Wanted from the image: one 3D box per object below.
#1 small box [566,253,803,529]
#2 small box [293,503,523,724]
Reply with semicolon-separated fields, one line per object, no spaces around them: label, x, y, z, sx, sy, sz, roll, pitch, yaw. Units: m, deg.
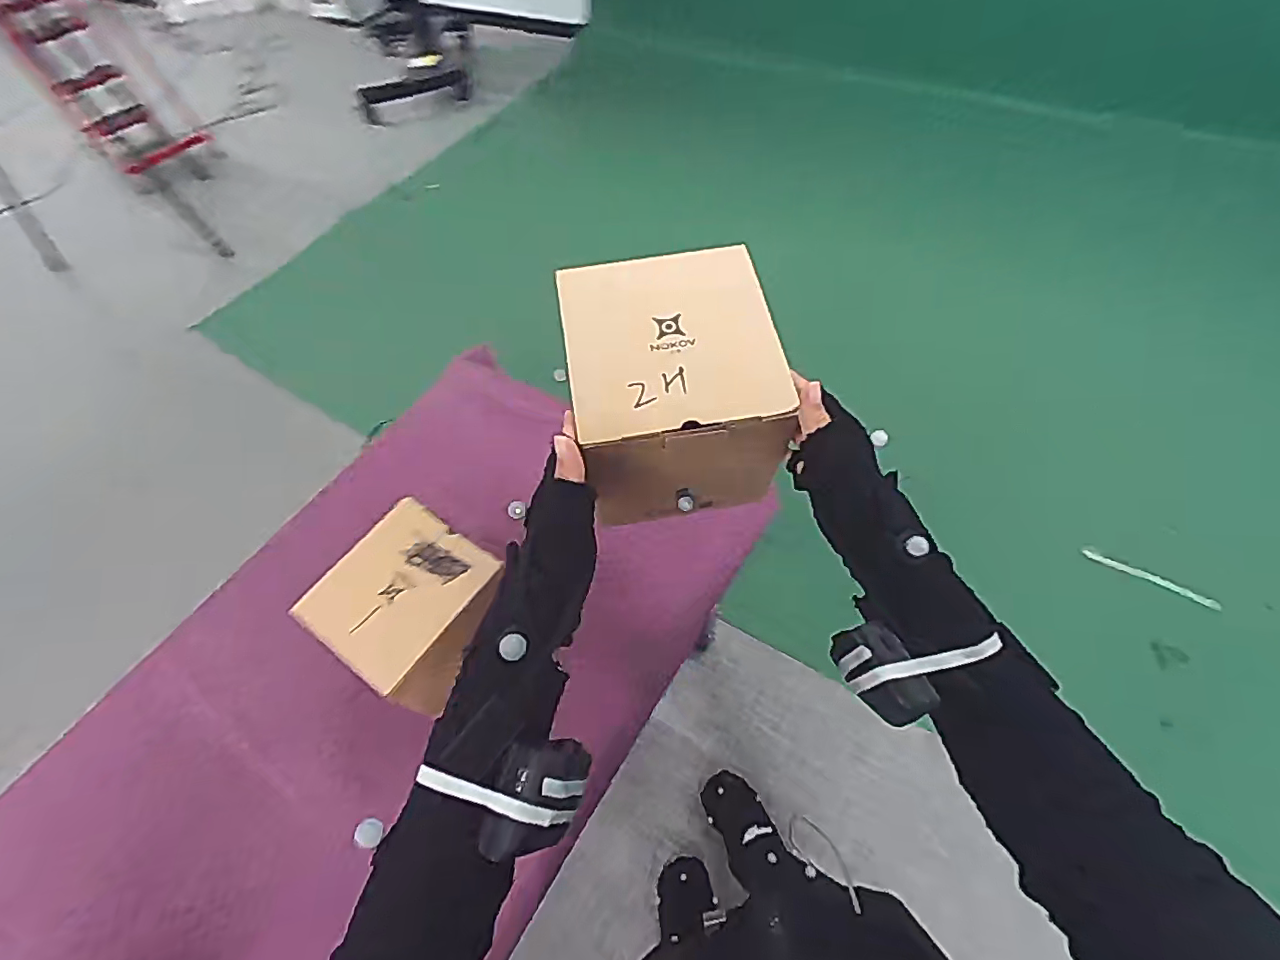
small box;0.029;-0.073;0.496;0.168;0.176;0.179;-9;65;-1
small box;-0.267;0.168;0.670;0.168;0.176;0.179;31;65;24
